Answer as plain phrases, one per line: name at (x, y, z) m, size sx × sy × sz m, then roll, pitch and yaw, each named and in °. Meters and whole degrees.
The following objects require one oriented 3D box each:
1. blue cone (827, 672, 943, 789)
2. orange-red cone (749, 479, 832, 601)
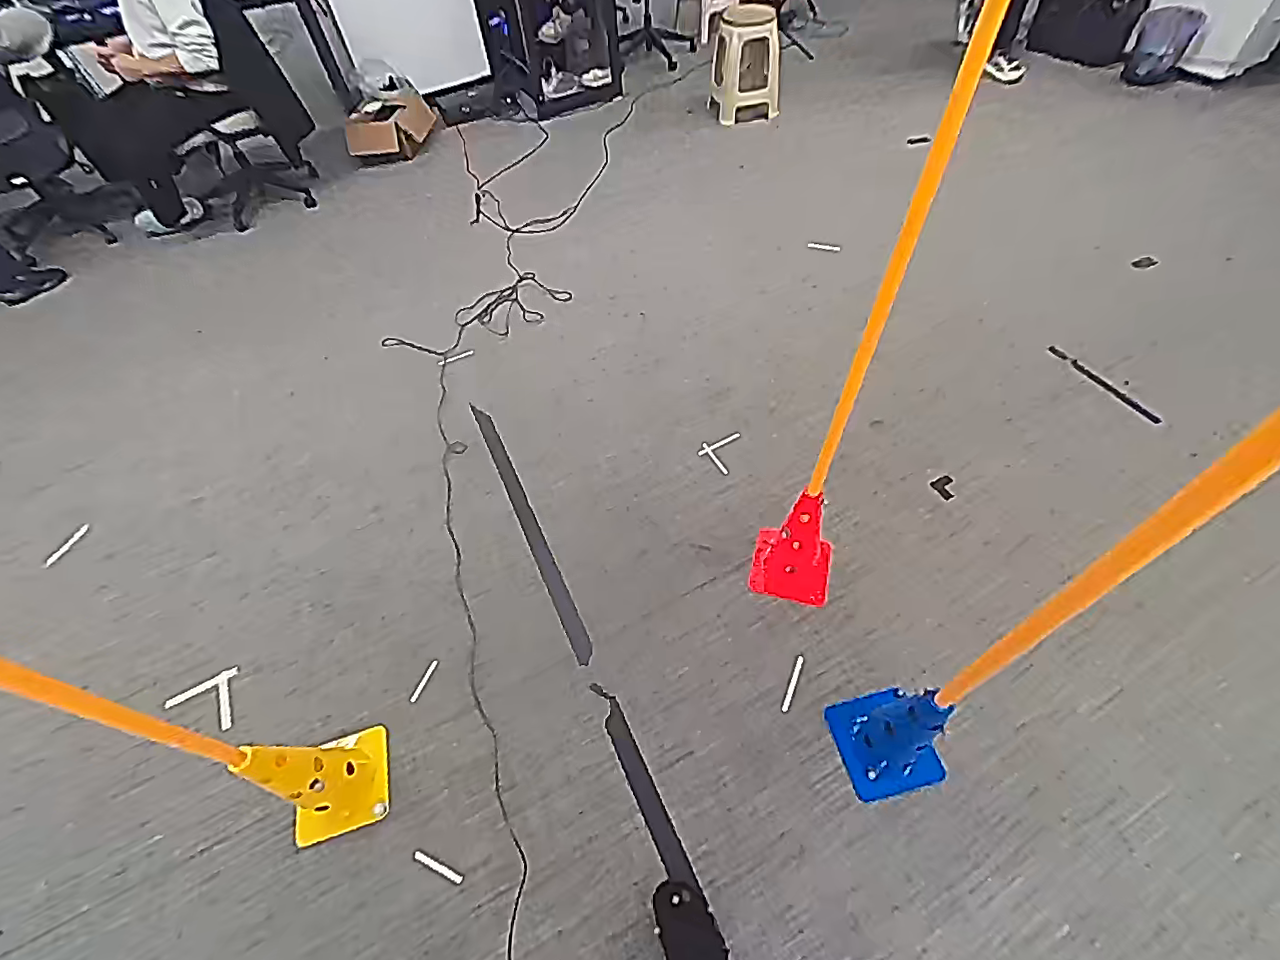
blue cone at (0.514, 0.462, 1.055) m, size 0.193 × 0.380 × 0.192 m, roll -12°, pitch 53°, yaw -3°
orange-red cone at (0.387, 0.117, 1.304) m, size 0.198 × 0.360 × 0.199 m, roll 12°, pitch 57°, yaw 15°
